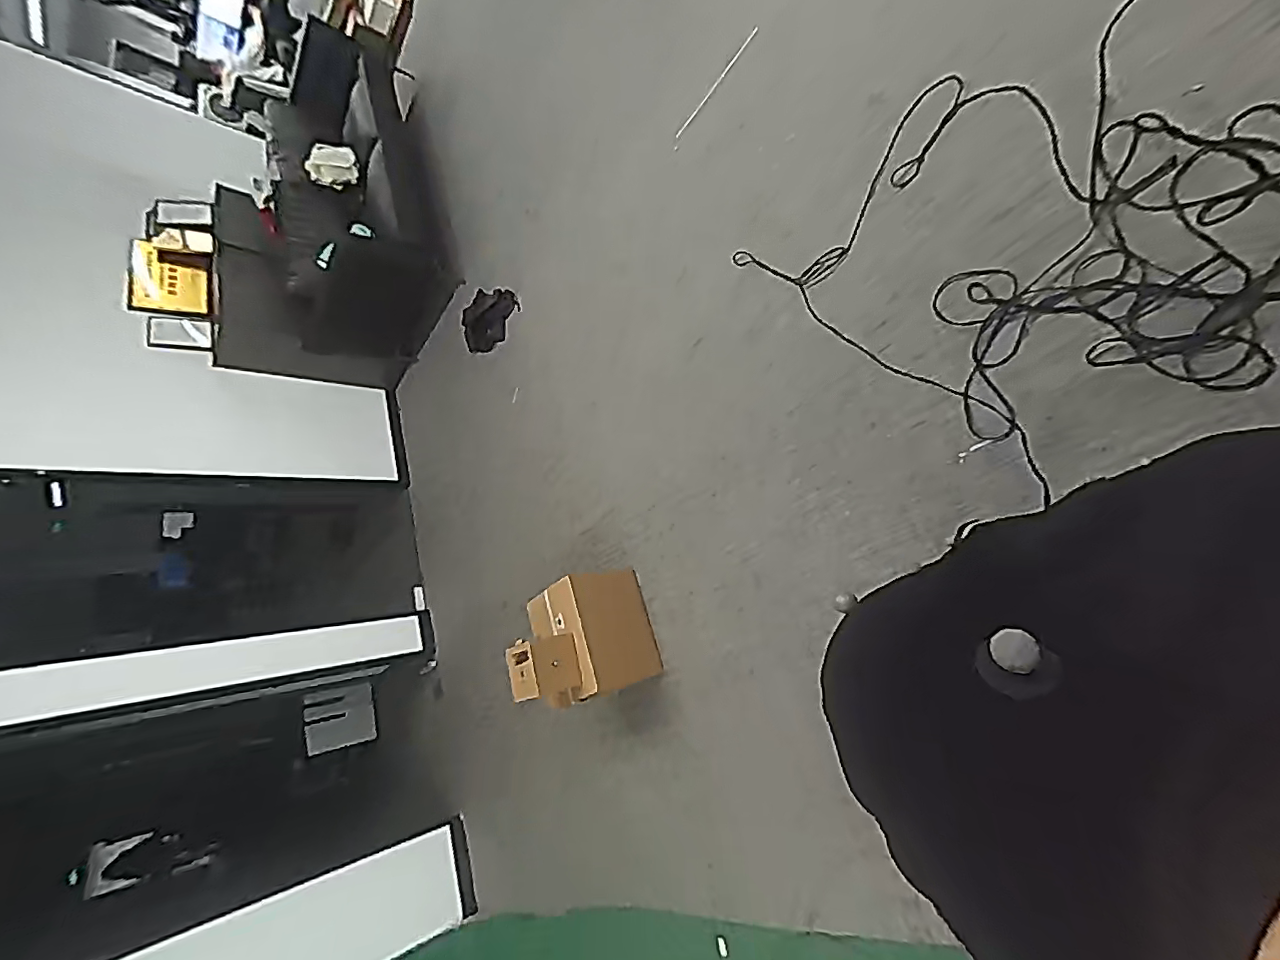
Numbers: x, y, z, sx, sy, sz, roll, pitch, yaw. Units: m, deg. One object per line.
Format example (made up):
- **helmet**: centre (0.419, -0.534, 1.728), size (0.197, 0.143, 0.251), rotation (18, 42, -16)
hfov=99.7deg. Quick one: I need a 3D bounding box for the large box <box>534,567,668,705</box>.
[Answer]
- **large box**: centre (-0.150, 0.572, 2.013), size (0.320, 0.320, 0.408), rotation (-38, 60, 39)
